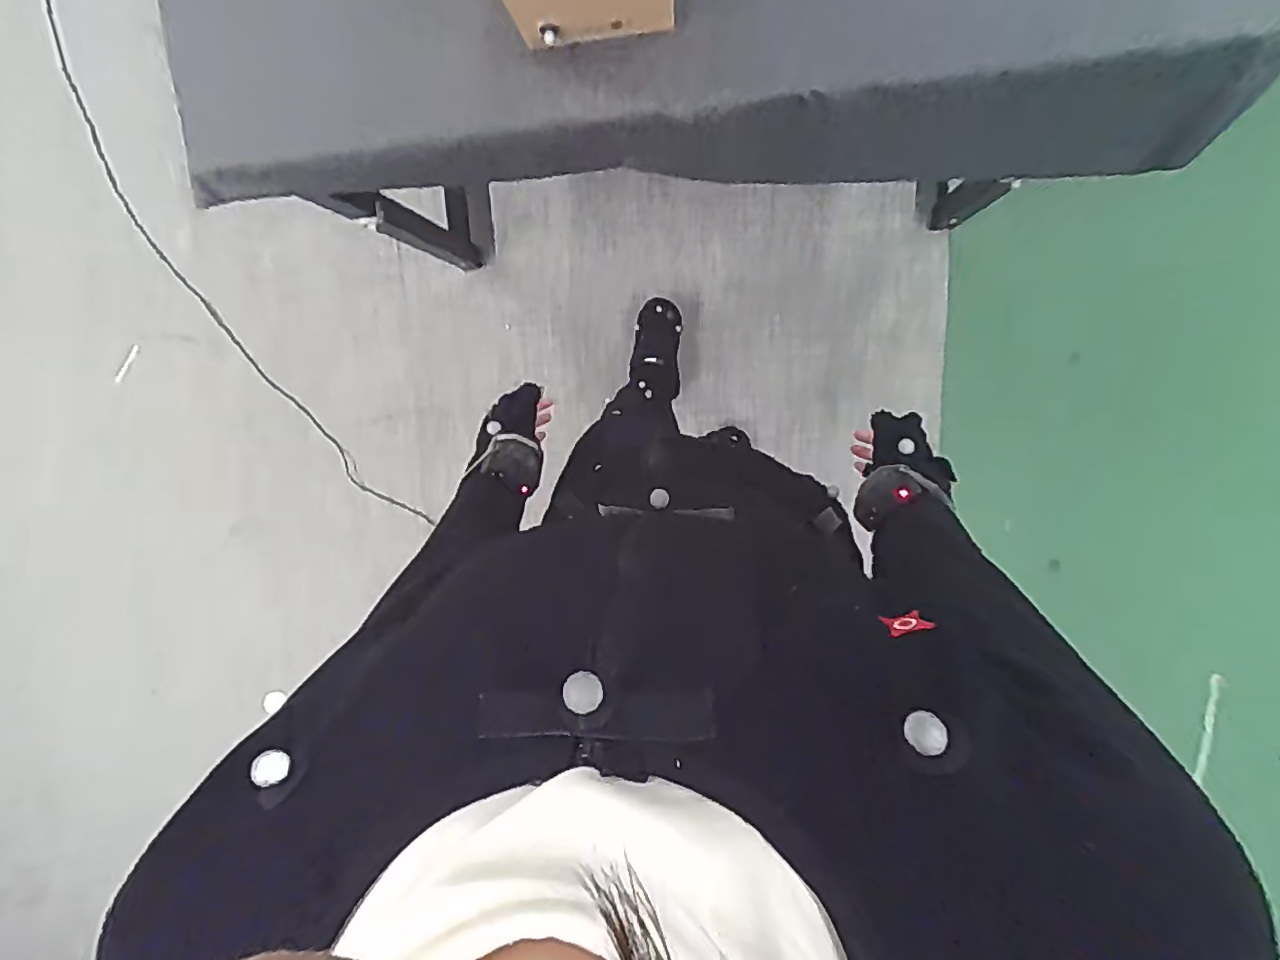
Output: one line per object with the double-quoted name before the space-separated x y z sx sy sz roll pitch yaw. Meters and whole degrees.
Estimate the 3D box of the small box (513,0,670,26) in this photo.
"small box" -0.061 -0.568 0.503 0.168 0.176 0.179 -2 99 8
